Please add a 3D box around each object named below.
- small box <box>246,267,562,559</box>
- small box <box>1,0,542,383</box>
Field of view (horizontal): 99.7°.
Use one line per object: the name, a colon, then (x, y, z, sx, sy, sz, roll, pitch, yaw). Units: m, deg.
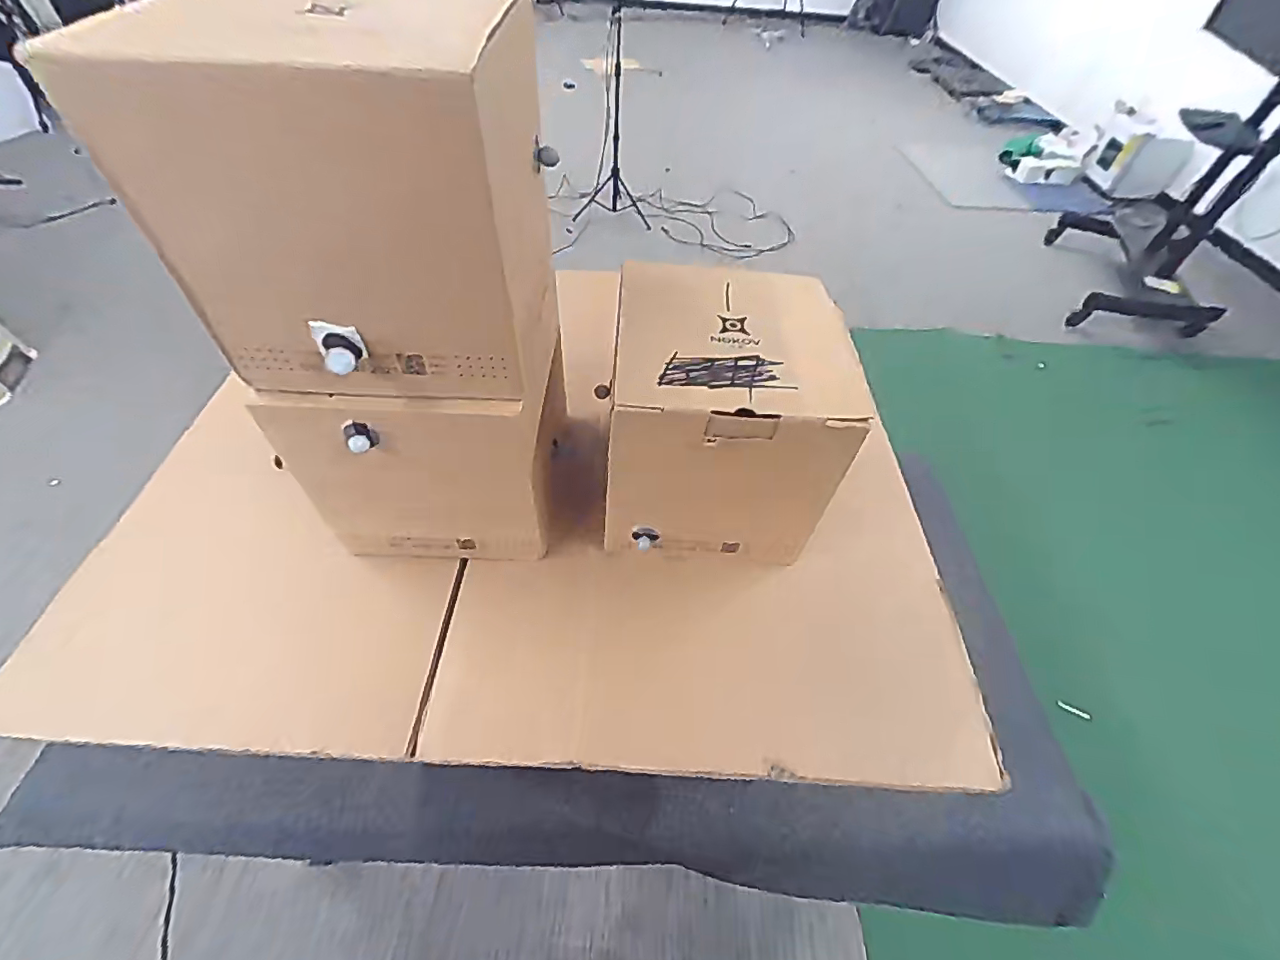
small box: (-0.158, -0.057, 0.440, 0.168, 0.176, 0.179, 2, 50, 0)
small box: (-0.151, -0.177, 0.308, 0.168, 0.176, 0.179, 0, 52, -2)
